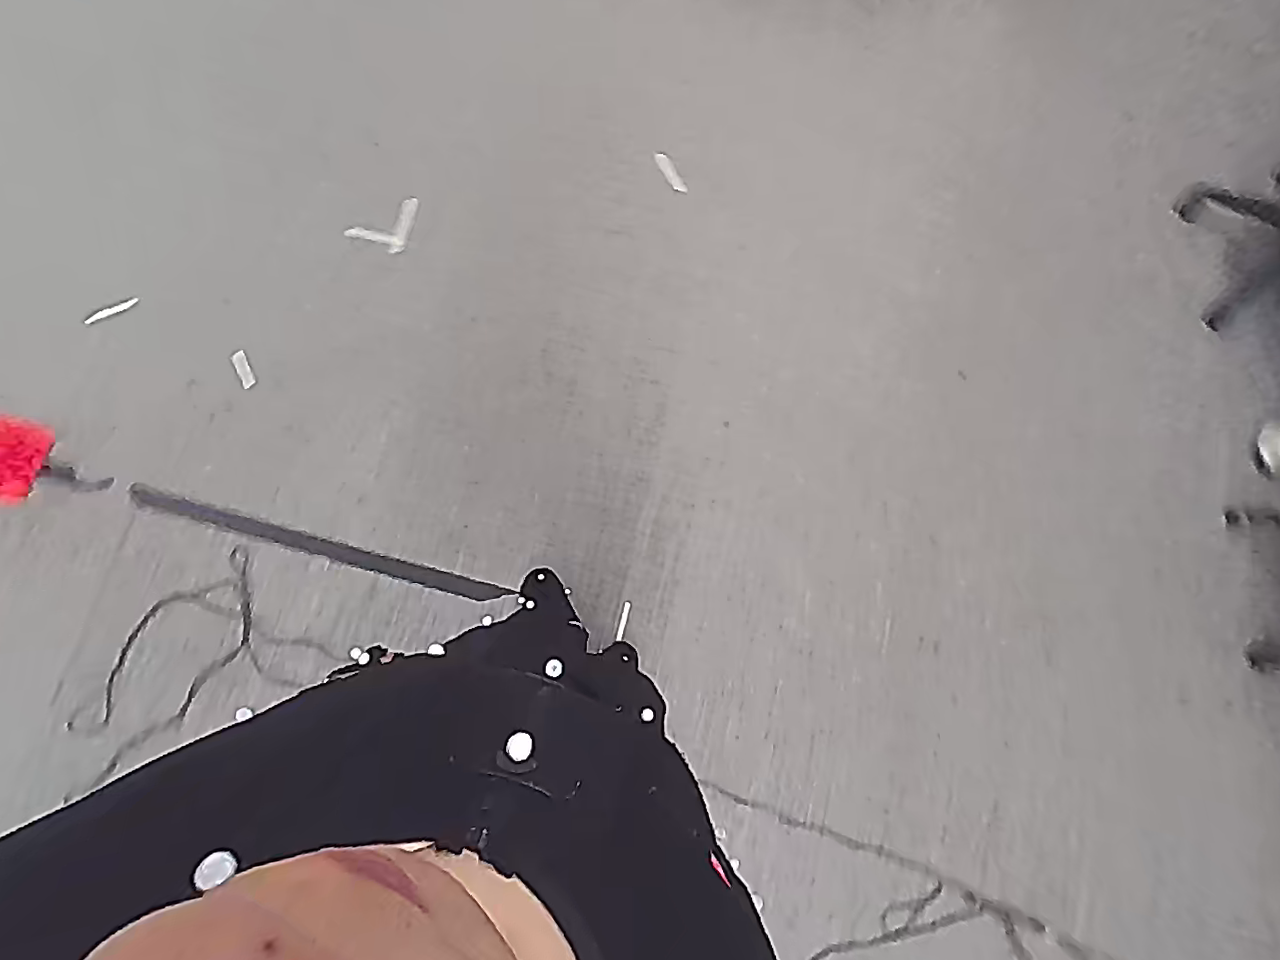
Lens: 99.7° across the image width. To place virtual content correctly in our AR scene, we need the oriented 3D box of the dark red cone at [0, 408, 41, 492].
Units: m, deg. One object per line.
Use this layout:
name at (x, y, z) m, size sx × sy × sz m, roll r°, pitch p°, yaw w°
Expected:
dark red cone at (-1.594, -0.107, 1.170) m, size 0.202 × 0.394 × 0.201 m, roll 15°, pitch 81°, yaw -1°
